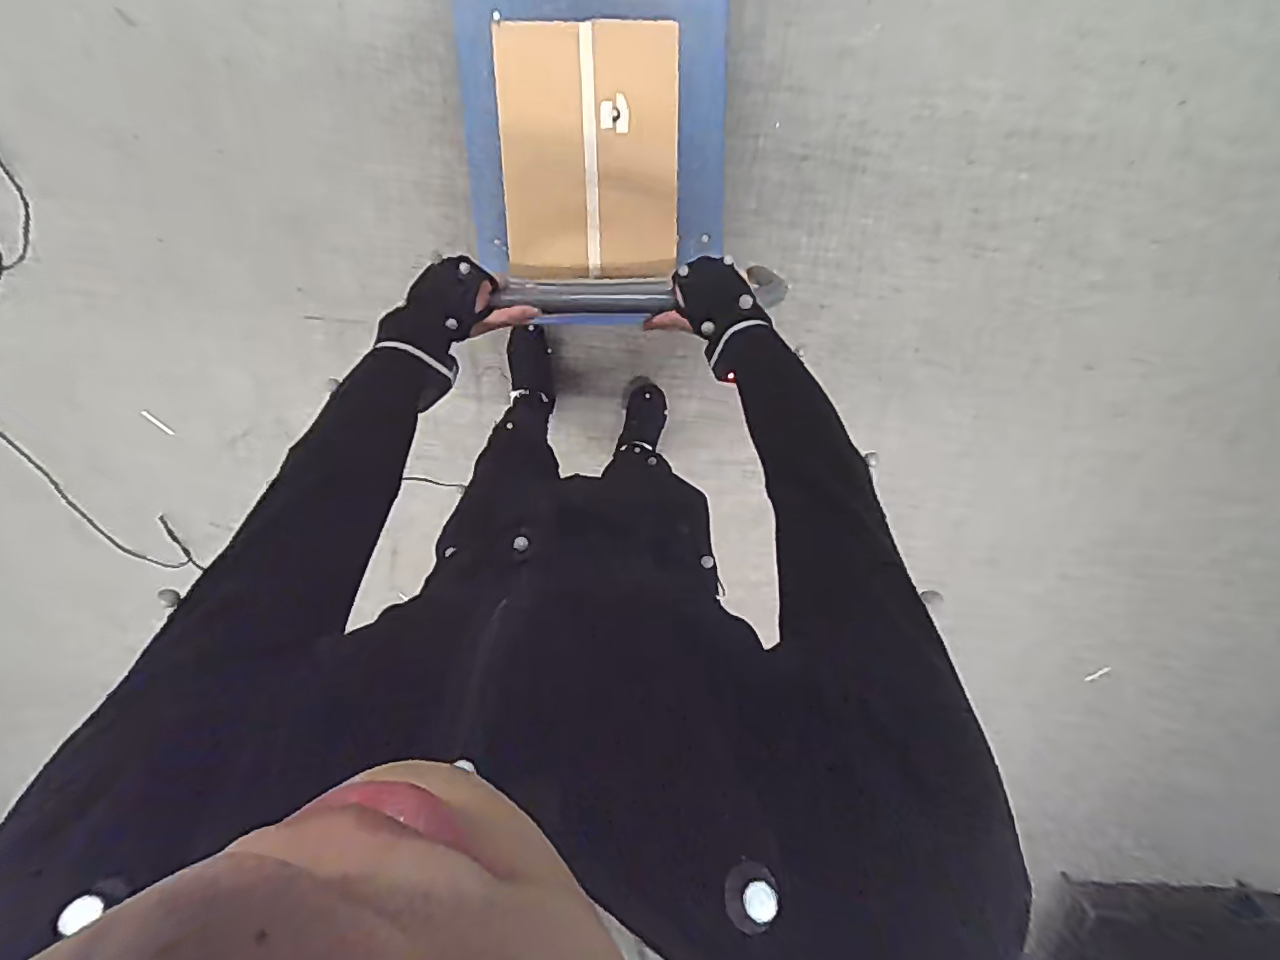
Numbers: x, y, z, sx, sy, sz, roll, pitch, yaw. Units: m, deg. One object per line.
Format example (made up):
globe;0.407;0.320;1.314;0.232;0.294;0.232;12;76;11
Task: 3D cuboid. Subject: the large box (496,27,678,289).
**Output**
large box;-0.092;-0.618;1.115;0.320;0.320;0.408;-1;107;-2
